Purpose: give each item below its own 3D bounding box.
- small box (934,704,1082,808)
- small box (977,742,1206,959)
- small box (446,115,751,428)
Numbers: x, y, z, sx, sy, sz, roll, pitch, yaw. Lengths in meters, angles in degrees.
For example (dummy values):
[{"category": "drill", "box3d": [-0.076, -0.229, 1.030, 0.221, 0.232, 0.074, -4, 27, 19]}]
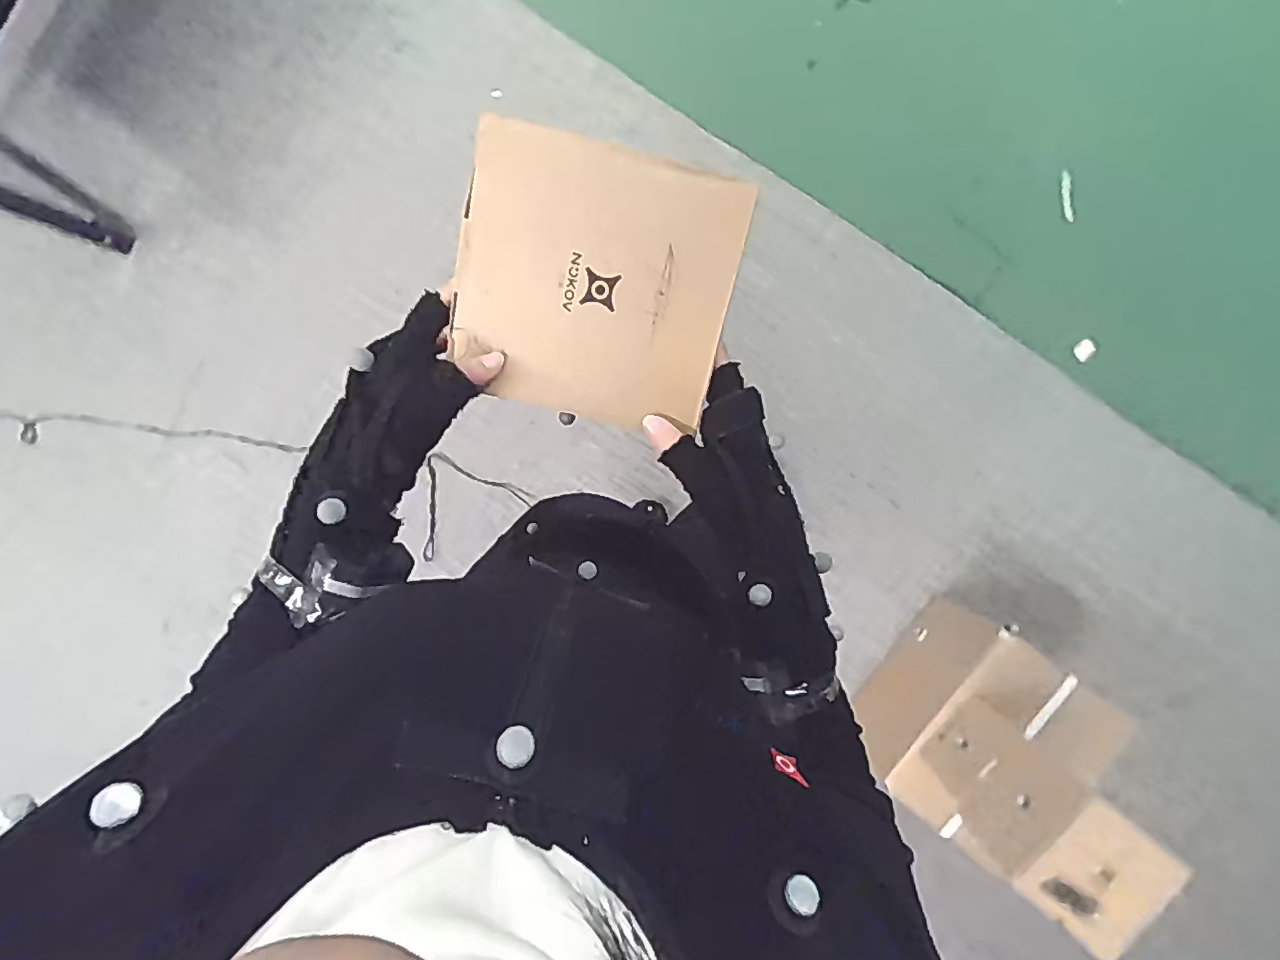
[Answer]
[{"category": "small box", "box3d": [0.680, 0.538, 0.980, 0.179, 0.176, 0.168, 41, 95, 5]}, {"category": "small box", "box3d": [0.654, 0.545, 0.818, 0.168, 0.176, 0.179, 40, 94, 4]}, {"category": "small box", "box3d": [-0.032, -0.148, 0.423, 0.179, 0.176, 0.168, 10, 106, -4]}]
